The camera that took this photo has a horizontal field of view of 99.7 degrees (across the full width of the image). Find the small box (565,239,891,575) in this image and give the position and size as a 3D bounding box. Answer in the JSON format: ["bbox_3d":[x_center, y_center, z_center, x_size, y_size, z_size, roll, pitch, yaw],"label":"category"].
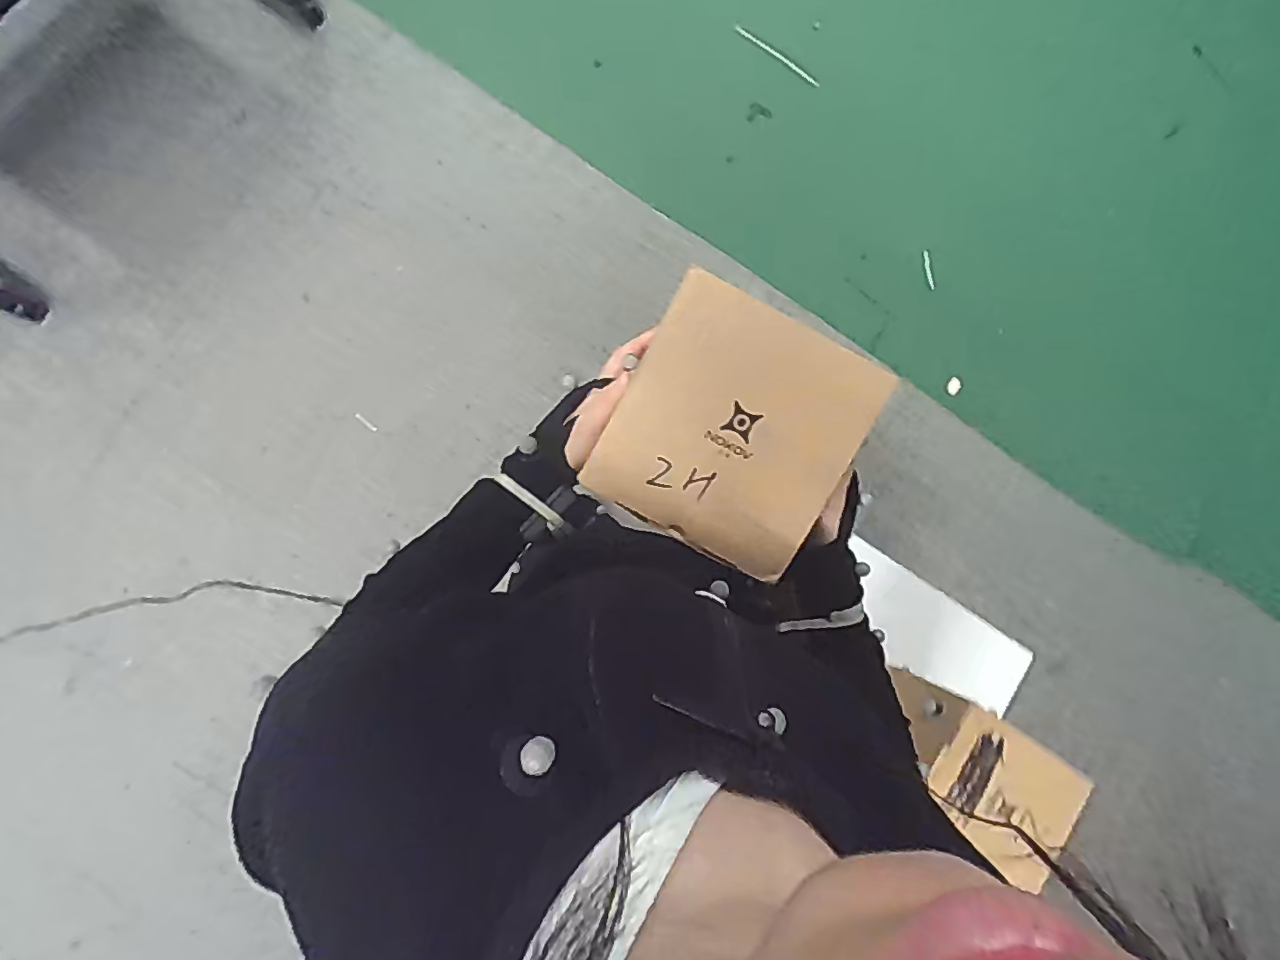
[{"bbox_3d":[0.059,-0.055,0.443,0.168,0.176,0.179,27,97,0],"label":"small box"}]

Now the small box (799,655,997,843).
[{"bbox_3d":[0.379,0.391,0.824,0.179,0.176,0.168,34,82,-1],"label":"small box"}]
